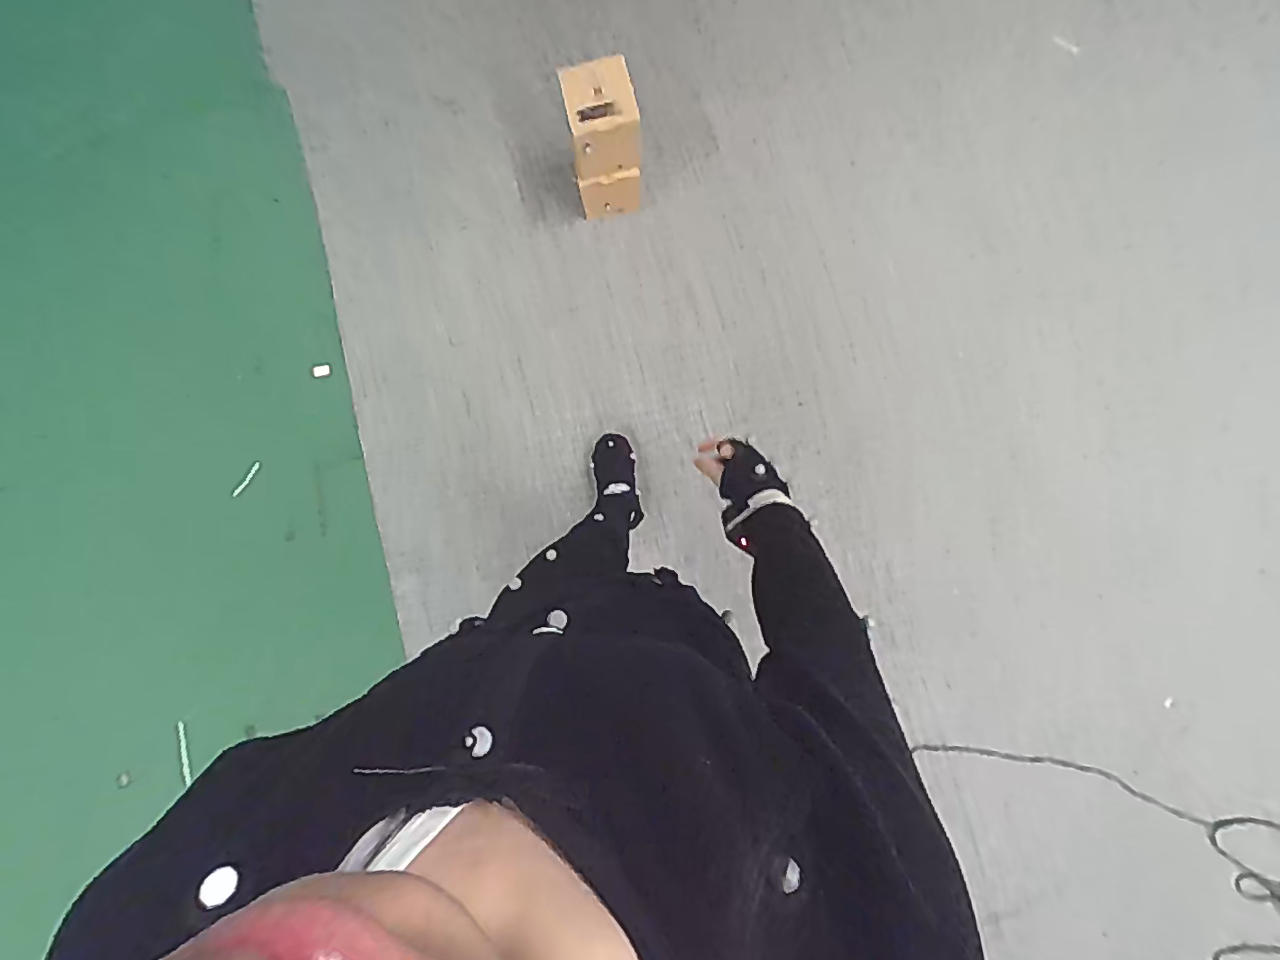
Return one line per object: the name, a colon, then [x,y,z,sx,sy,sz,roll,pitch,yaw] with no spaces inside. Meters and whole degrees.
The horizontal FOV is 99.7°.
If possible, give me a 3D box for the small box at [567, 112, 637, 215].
small box: [-0.102,-0.879,1.513,0.168,0.176,0.179,-10,86,0]
